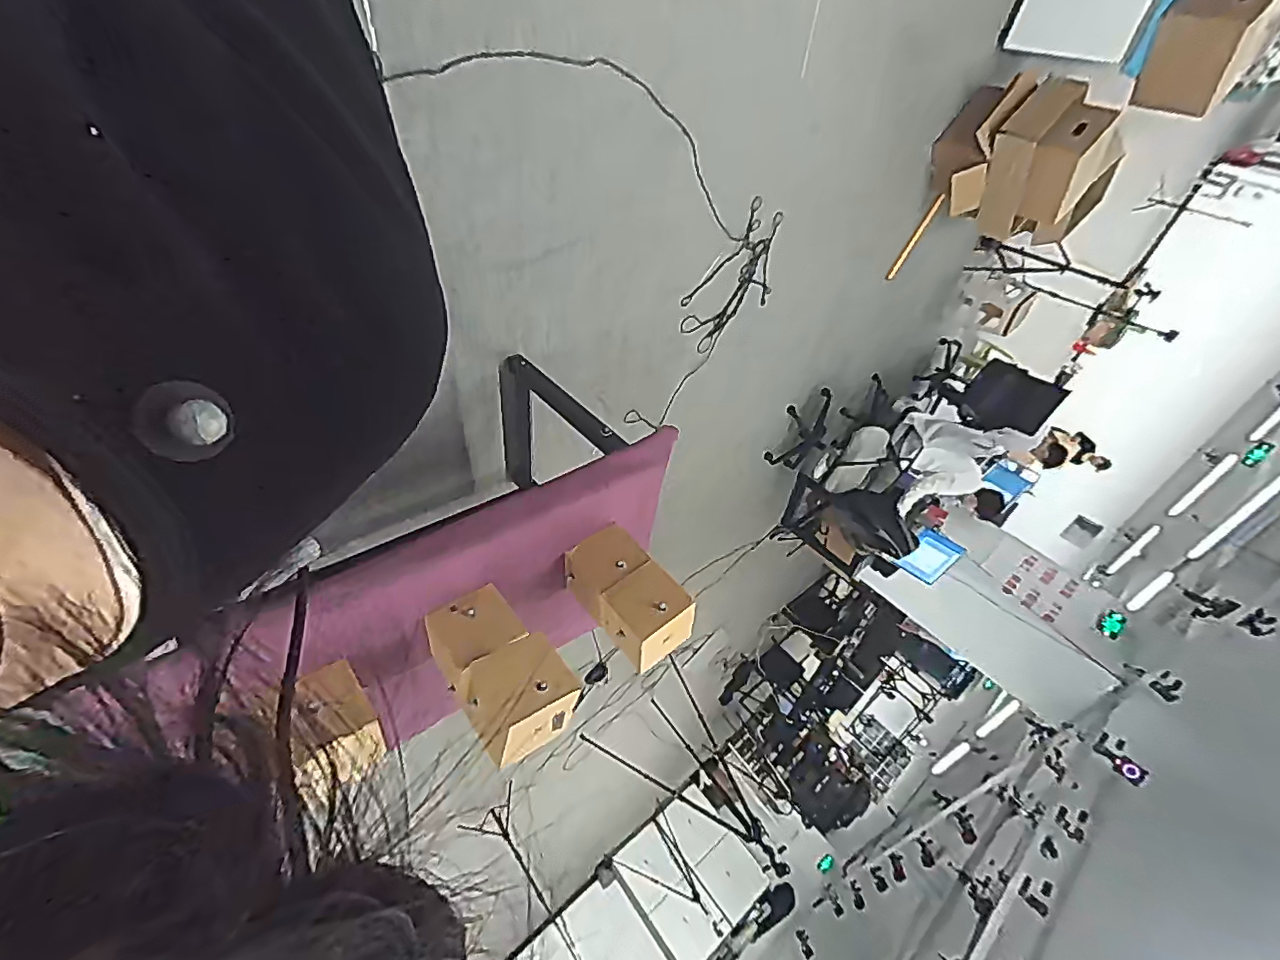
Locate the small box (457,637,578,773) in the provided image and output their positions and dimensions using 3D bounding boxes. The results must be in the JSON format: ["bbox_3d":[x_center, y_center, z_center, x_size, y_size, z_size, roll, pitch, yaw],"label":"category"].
[{"bbox_3d":[-0.263,0.468,1.152,0.179,0.176,0.168,-15,135,-42],"label":"small box"}]

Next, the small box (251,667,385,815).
[{"bbox_3d":[-0.623,0.494,1.051,0.168,0.176,0.179,-23,140,-36],"label":"small box"}]

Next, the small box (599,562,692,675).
[{"bbox_3d":[0.007,0.344,1.359,0.179,0.176,0.168,-31,143,-28],"label":"small box"}]

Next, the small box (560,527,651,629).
[{"bbox_3d":[-0.093,0.255,1.449,0.179,0.176,0.168,-28,142,-29],"label":"small box"}]

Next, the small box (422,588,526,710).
[{"bbox_3d":[-0.377,0.382,1.234,0.168,0.176,0.179,-24,140,-35],"label":"small box"}]
